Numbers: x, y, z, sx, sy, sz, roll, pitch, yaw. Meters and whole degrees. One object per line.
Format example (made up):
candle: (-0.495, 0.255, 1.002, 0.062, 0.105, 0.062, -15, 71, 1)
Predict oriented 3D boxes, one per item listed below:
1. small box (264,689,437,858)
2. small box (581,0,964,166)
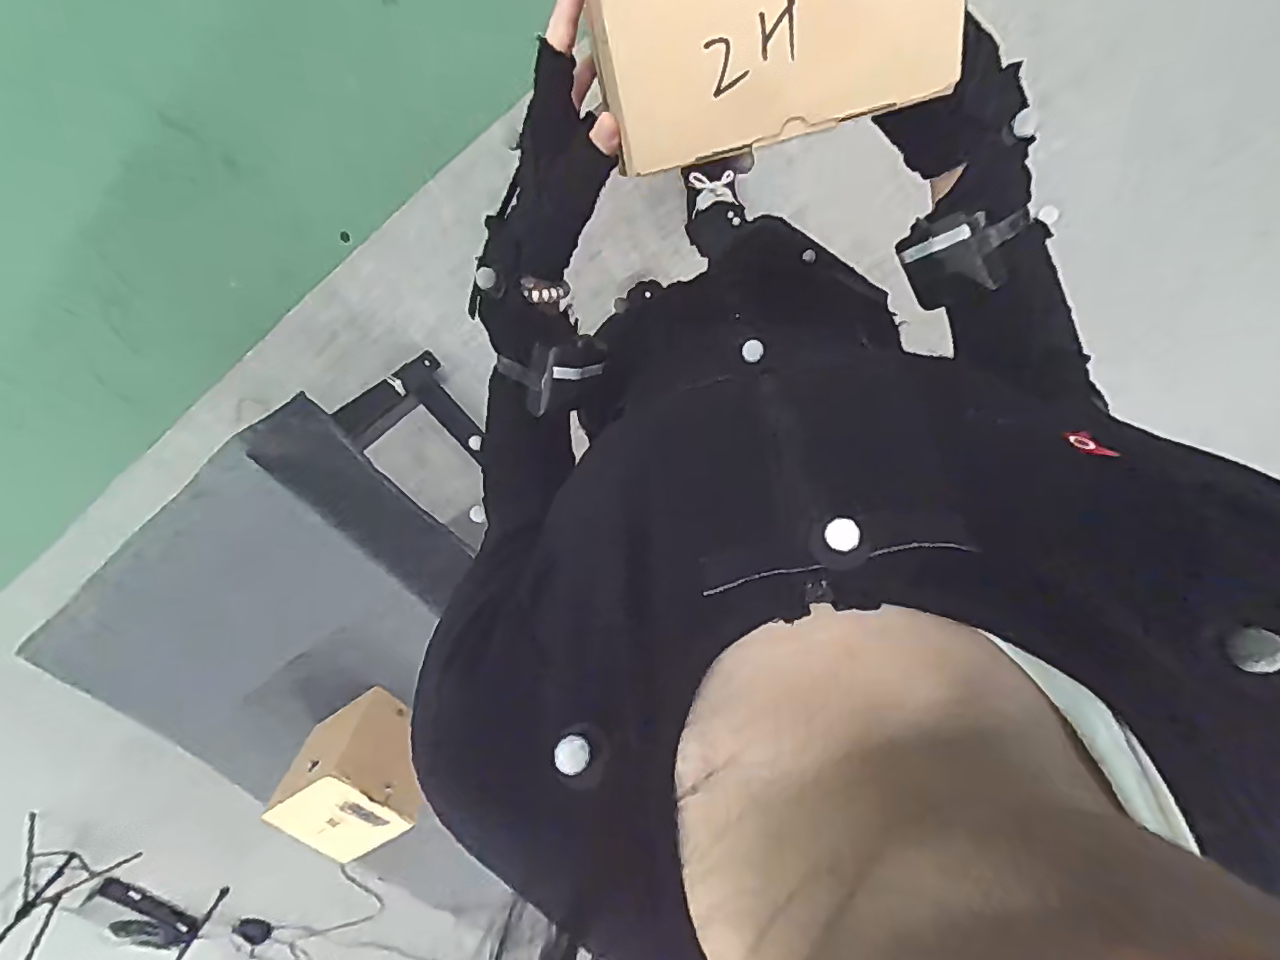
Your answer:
small box: (-0.473, 0.491, 0.919, 0.179, 0.176, 0.168, -34, 112, 17)
small box: (0.049, -0.288, 0.294, 0.168, 0.176, 0.179, -14, 120, 4)
